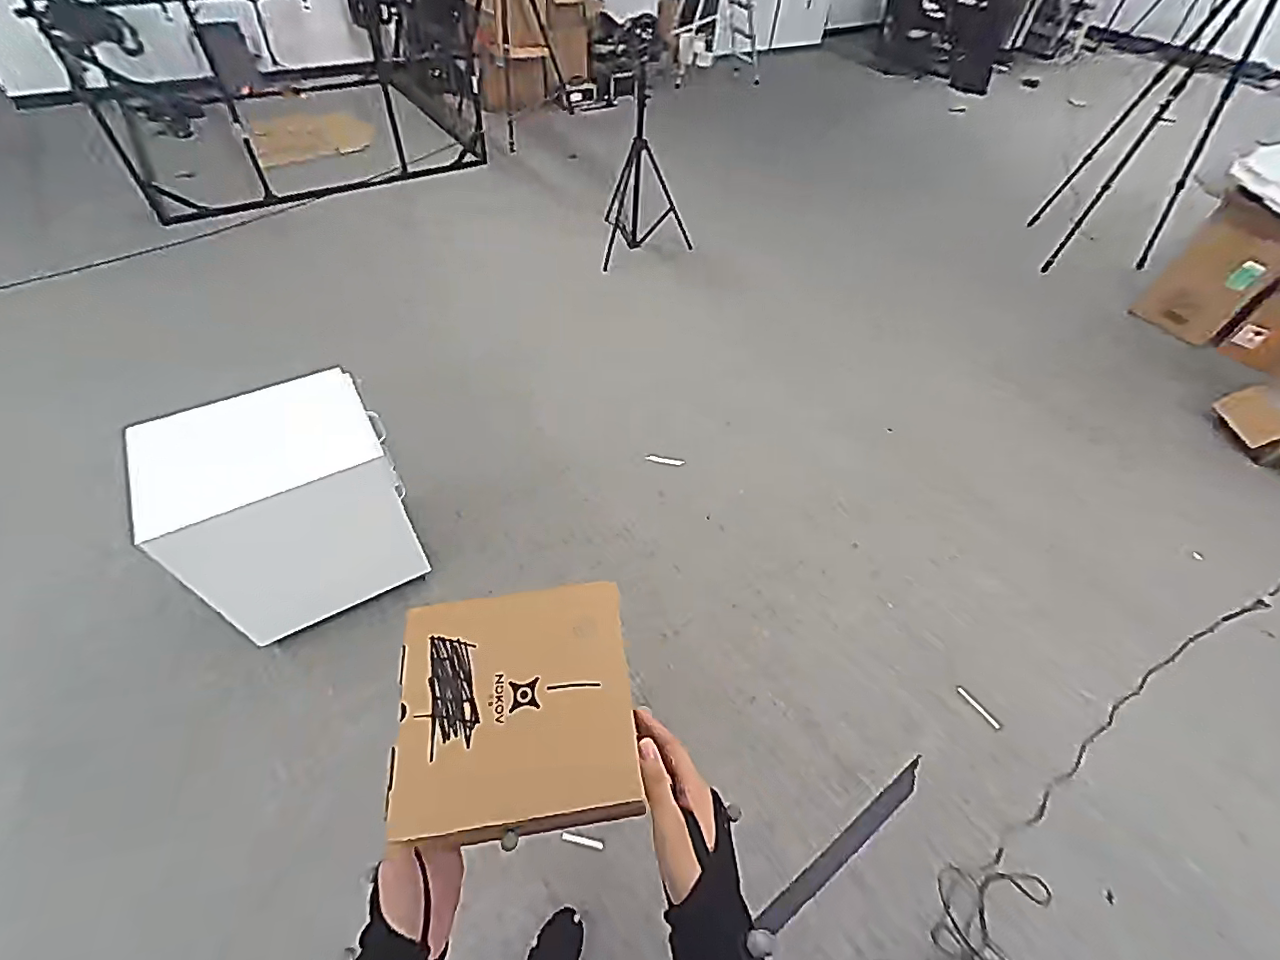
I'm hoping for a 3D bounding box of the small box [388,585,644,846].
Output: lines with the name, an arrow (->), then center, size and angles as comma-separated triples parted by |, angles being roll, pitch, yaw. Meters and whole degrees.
small box -> -0.093, 0.211, 0.475 | 0.179, 0.176, 0.168 | -7, 56, -5
